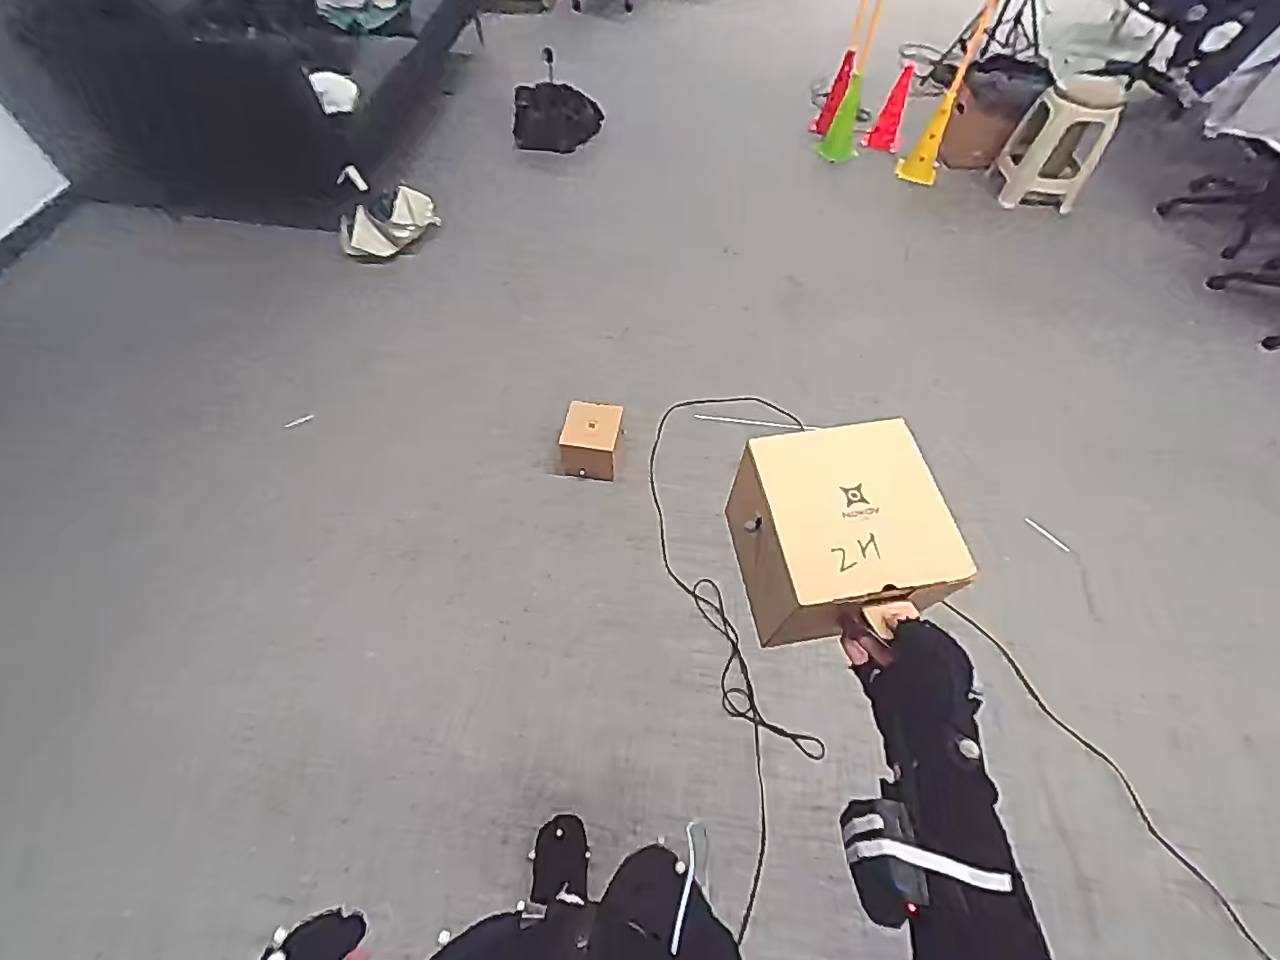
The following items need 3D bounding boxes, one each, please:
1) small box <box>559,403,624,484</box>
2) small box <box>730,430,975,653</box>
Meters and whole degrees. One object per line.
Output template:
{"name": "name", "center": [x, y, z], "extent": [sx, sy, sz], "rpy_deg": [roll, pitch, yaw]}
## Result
{"name": "small box", "center": [-0.146, -0.111, 1.693], "extent": [0.168, 0.176, 0.179], "rpy_deg": [9, 58, 5]}
{"name": "small box", "center": [0.202, 0.071, 0.578], "extent": [0.168, 0.176, 0.179], "rpy_deg": [-8, 62, -4]}
